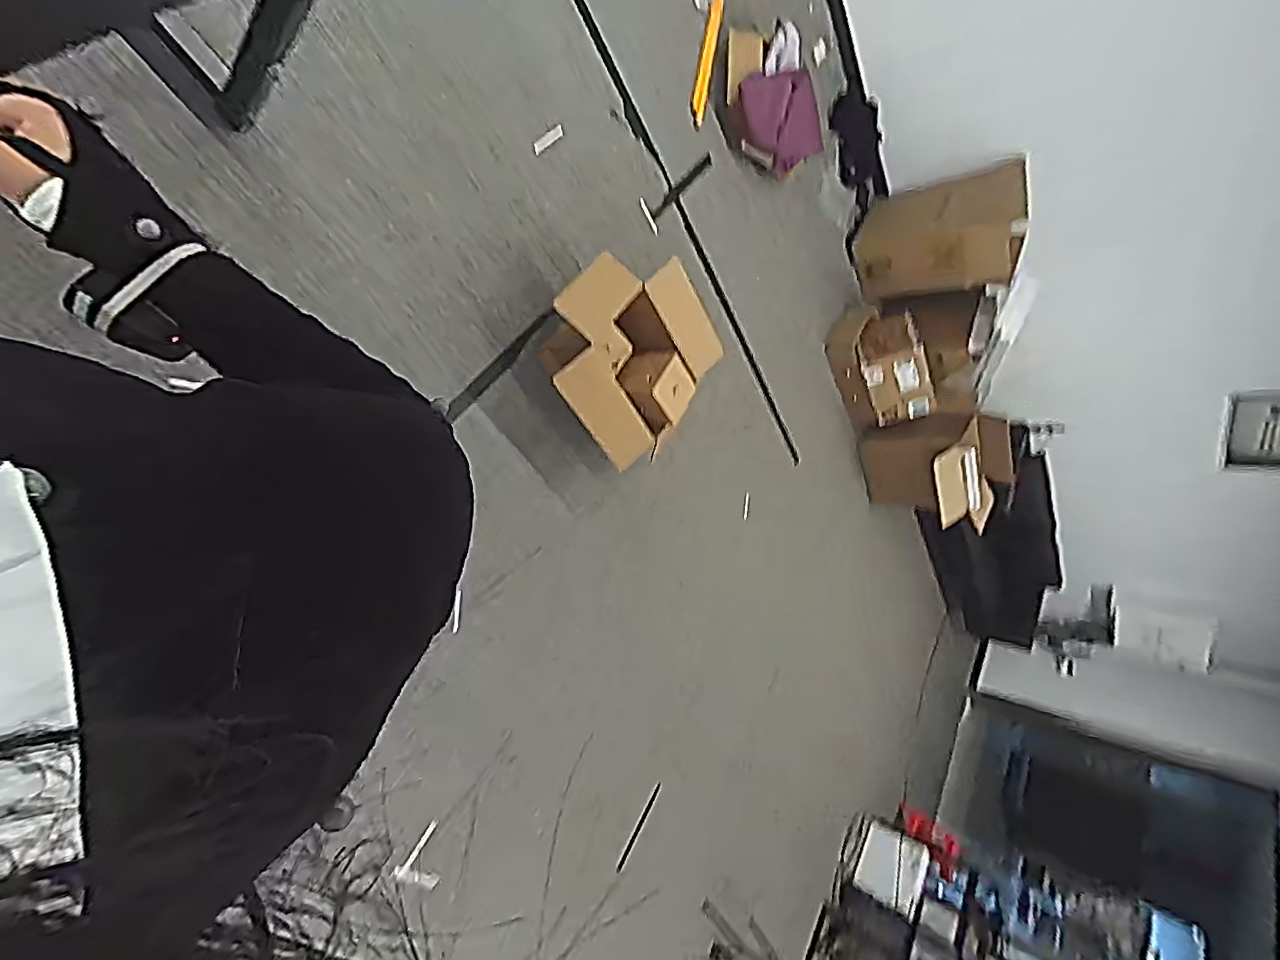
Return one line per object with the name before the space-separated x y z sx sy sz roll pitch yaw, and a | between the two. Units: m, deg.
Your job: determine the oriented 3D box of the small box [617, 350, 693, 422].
small box | 0.046 -0.317 1.833 0.168 0.176 0.179 50 60 -41
